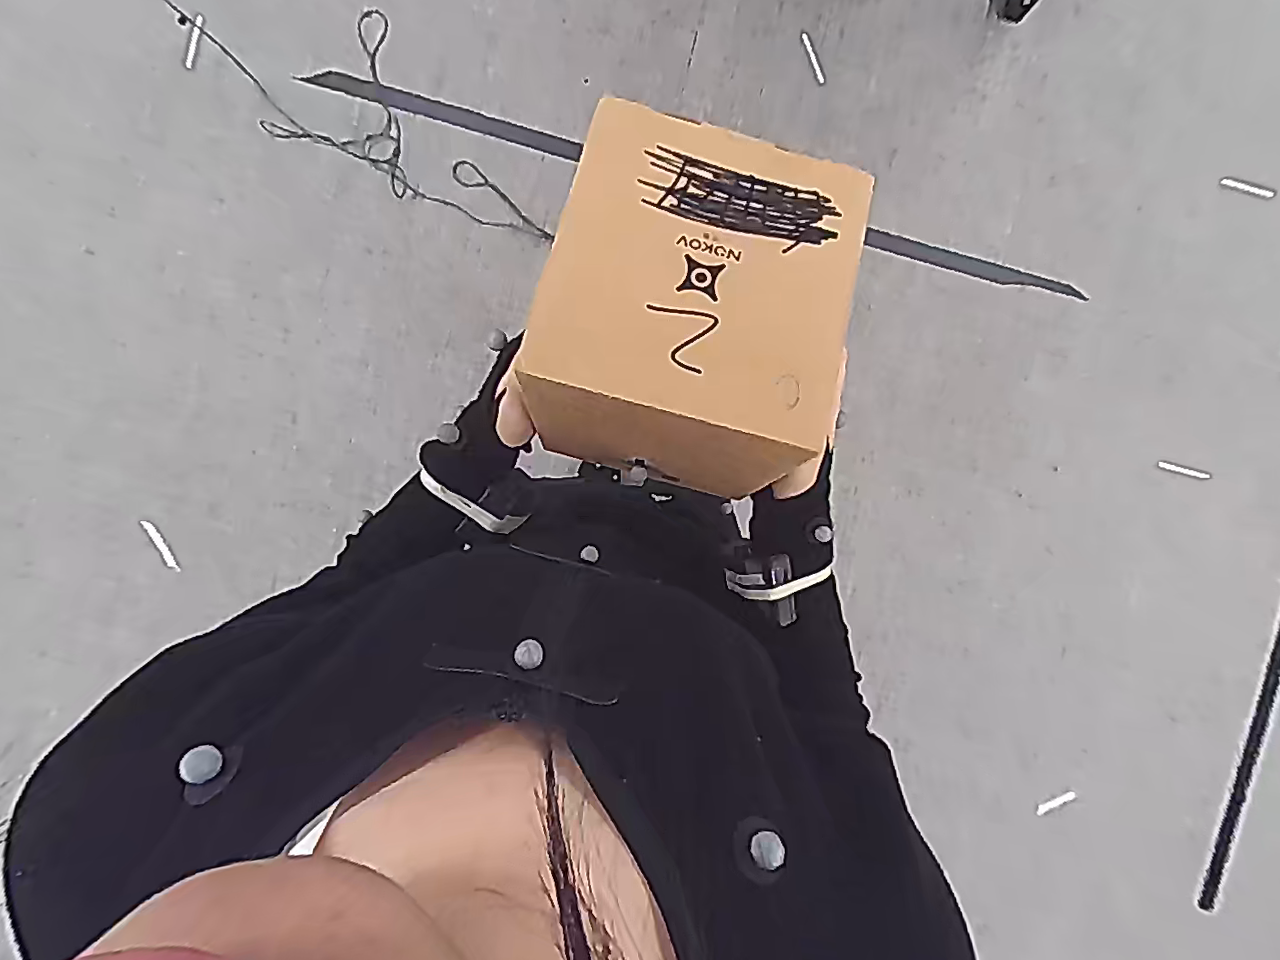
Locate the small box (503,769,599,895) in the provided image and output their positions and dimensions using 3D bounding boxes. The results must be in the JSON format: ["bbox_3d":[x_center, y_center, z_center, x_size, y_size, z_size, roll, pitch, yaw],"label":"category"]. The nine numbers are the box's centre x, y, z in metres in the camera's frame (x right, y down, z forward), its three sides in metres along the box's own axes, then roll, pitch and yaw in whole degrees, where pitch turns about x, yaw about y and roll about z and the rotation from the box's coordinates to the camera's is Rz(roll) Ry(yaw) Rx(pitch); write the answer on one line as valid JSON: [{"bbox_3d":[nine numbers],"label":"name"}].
[{"bbox_3d":[-0.198,0.799,1.245,0.179,0.176,0.168,12,93,-2],"label":"small box"}]

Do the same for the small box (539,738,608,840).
[{"bbox_3d":[-0.180,0.798,1.412,0.179,0.176,0.168,8,91,-3],"label":"small box"}]

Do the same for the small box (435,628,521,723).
[{"bbox_3d":[-0.410,0.496,1.394,0.168,0.176,0.179,9,92,-2],"label":"small box"}]
